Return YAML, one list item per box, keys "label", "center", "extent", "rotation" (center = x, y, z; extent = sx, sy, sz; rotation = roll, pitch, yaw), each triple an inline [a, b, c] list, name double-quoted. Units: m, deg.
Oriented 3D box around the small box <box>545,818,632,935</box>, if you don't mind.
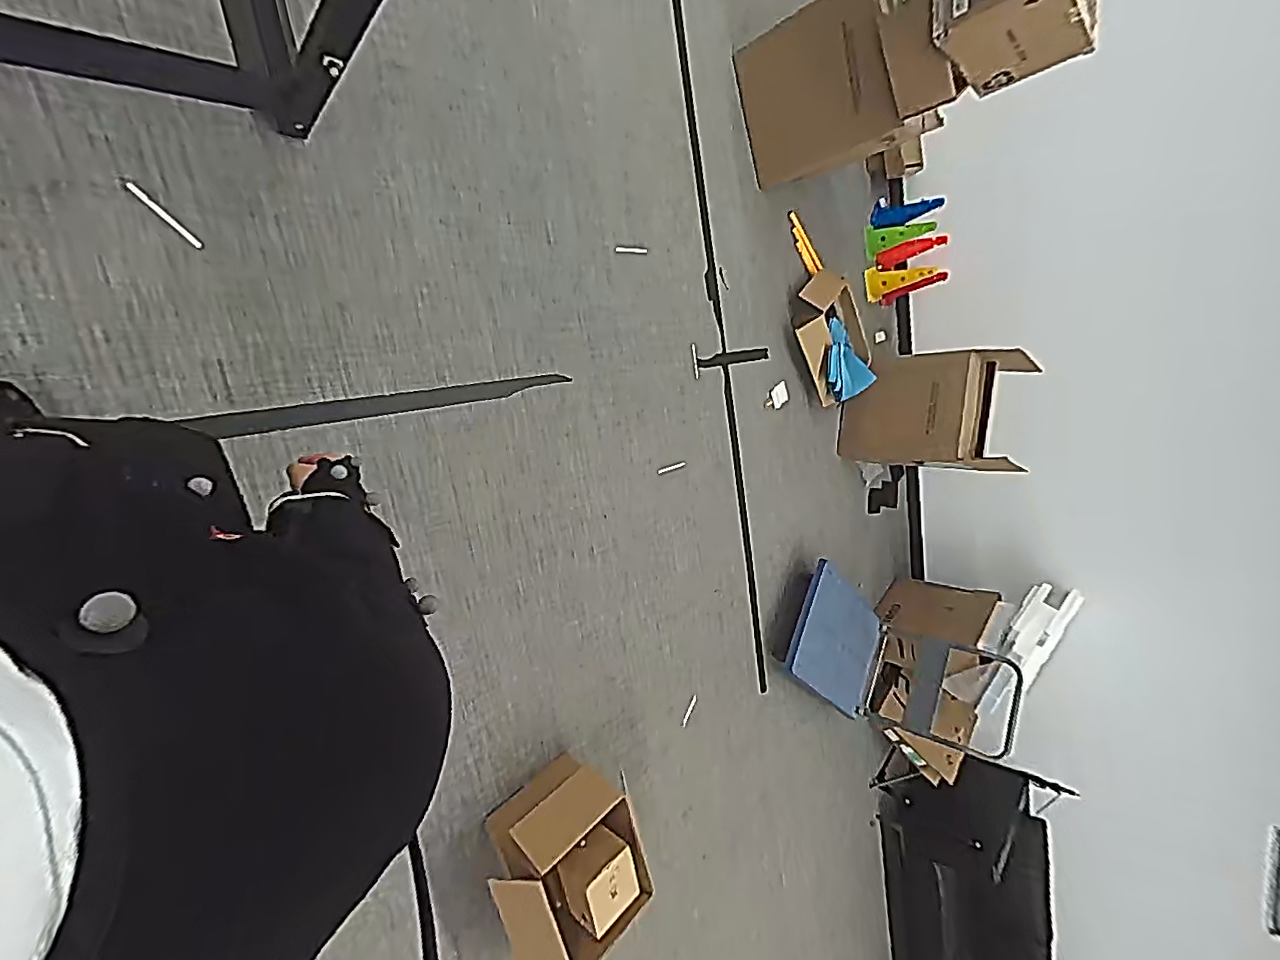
- label: "small box"
  center: [-0.149, 1.127, 1.552]
  extent: [0.168, 0.176, 0.179]
  rotation: [-22, 107, -42]
